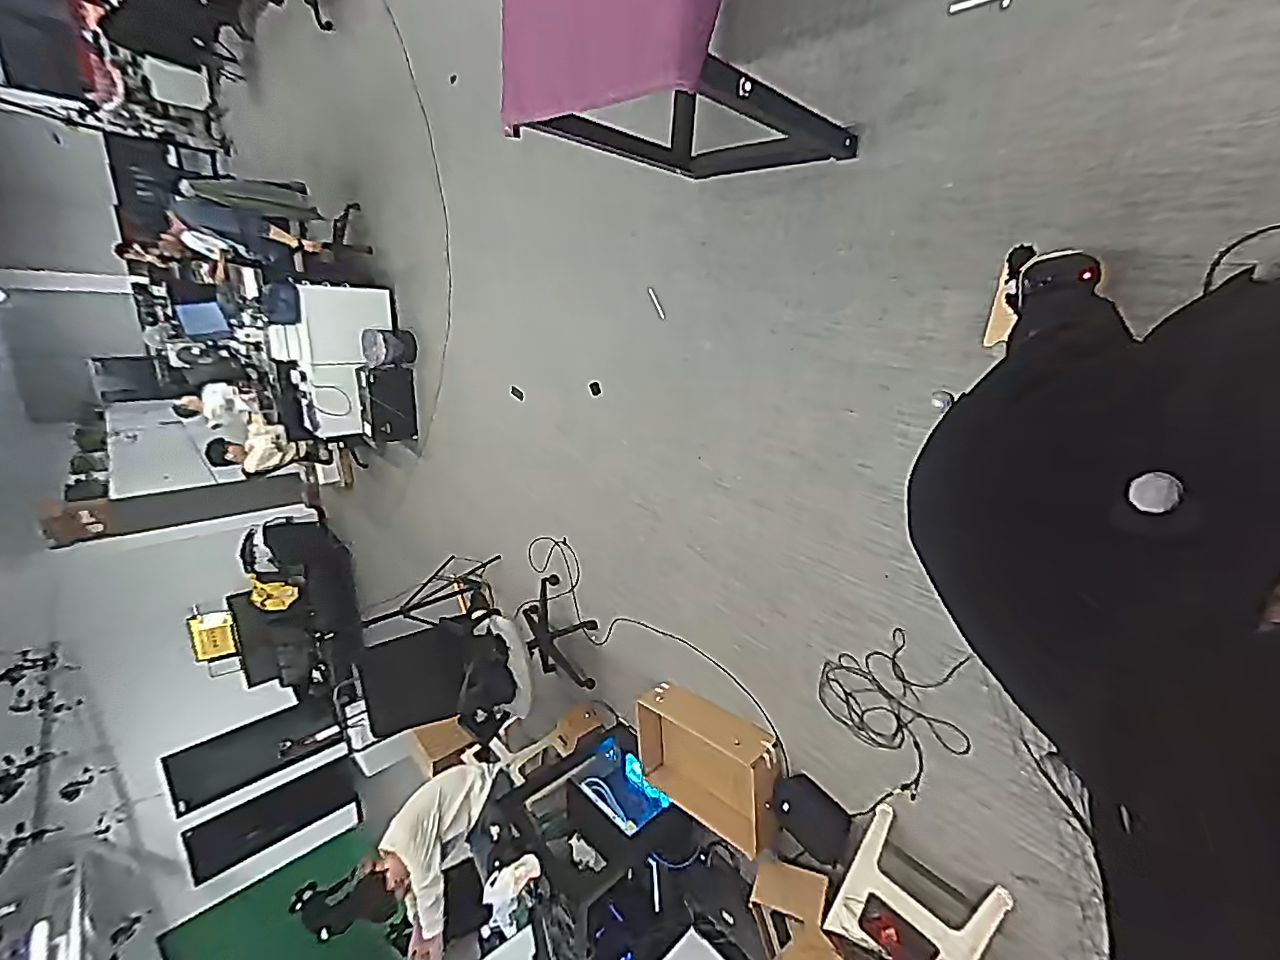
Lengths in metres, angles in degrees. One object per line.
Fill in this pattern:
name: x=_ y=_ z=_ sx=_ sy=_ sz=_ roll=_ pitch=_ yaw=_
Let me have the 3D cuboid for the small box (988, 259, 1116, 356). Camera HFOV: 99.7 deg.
small box: x=0.872 y=-0.361 z=1.142 sx=0.168 sy=0.176 sz=0.179 roll=22 pitch=114 yaw=43
